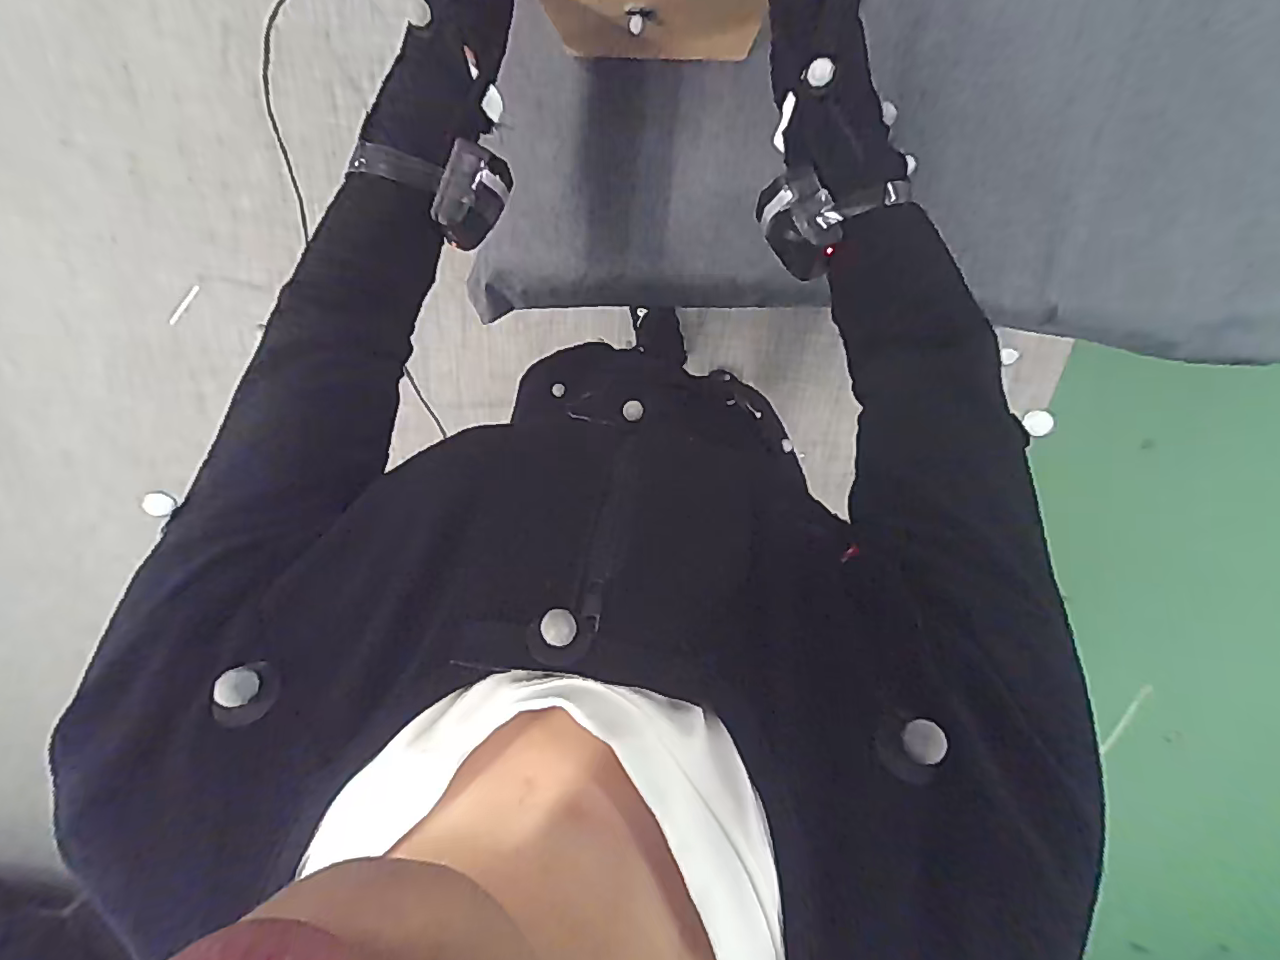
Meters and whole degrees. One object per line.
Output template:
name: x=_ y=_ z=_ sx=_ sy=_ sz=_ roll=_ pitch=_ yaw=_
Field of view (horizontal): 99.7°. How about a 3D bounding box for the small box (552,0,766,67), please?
small box: x=0.017 y=-0.450 z=0.427 sx=0.179 sy=0.176 sz=0.168 roll=3 pitch=115 yaw=1
